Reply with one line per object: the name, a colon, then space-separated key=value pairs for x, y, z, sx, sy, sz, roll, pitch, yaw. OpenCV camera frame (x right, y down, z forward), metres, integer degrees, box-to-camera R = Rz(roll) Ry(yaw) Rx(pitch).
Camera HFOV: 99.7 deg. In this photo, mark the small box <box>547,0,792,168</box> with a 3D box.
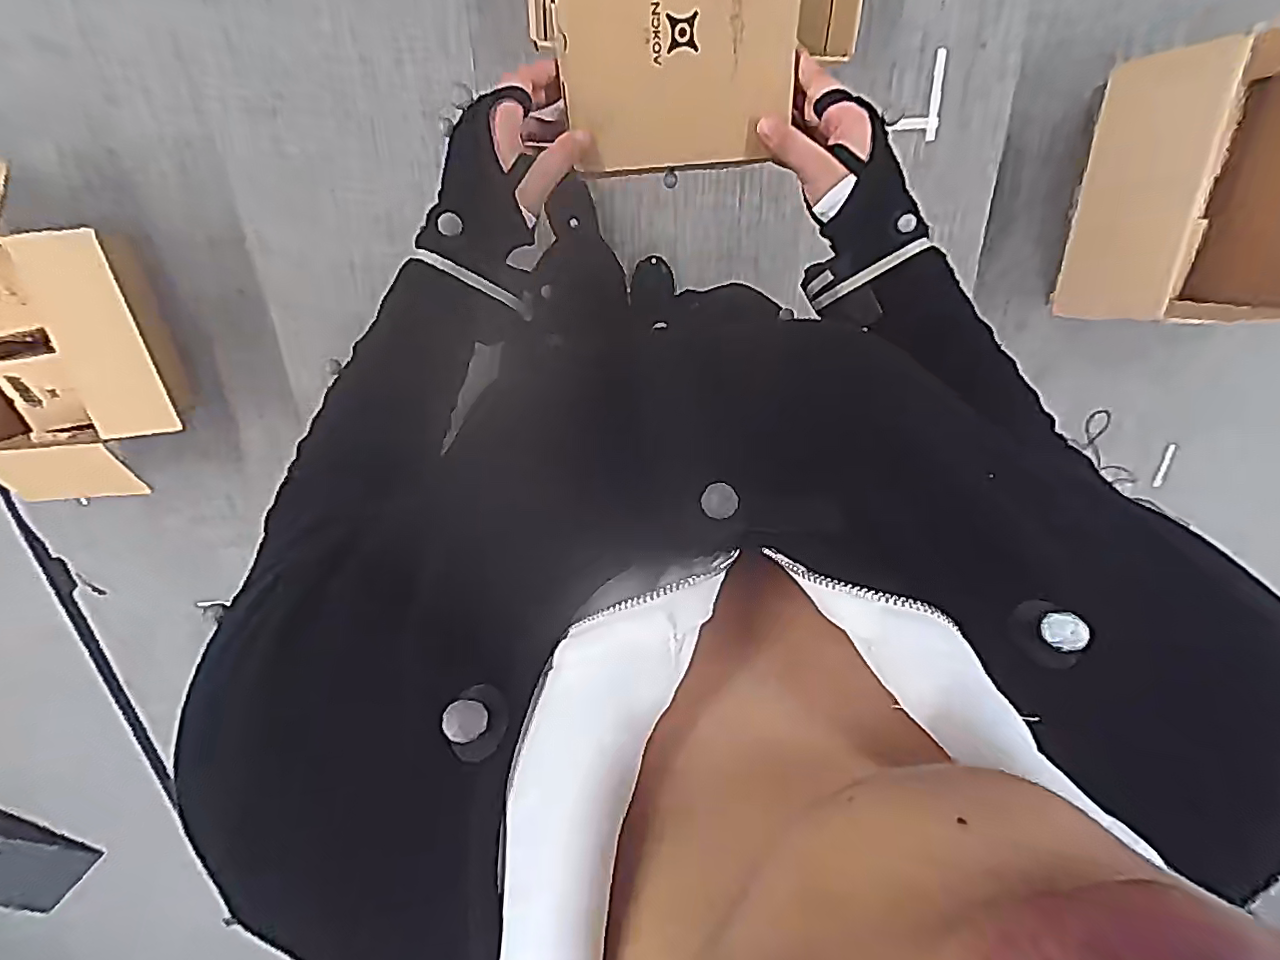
small box: x=0.018 y=-0.366 z=0.455 sx=0.179 sy=0.176 sz=0.168 roll=-6 pitch=118 yaw=-2
